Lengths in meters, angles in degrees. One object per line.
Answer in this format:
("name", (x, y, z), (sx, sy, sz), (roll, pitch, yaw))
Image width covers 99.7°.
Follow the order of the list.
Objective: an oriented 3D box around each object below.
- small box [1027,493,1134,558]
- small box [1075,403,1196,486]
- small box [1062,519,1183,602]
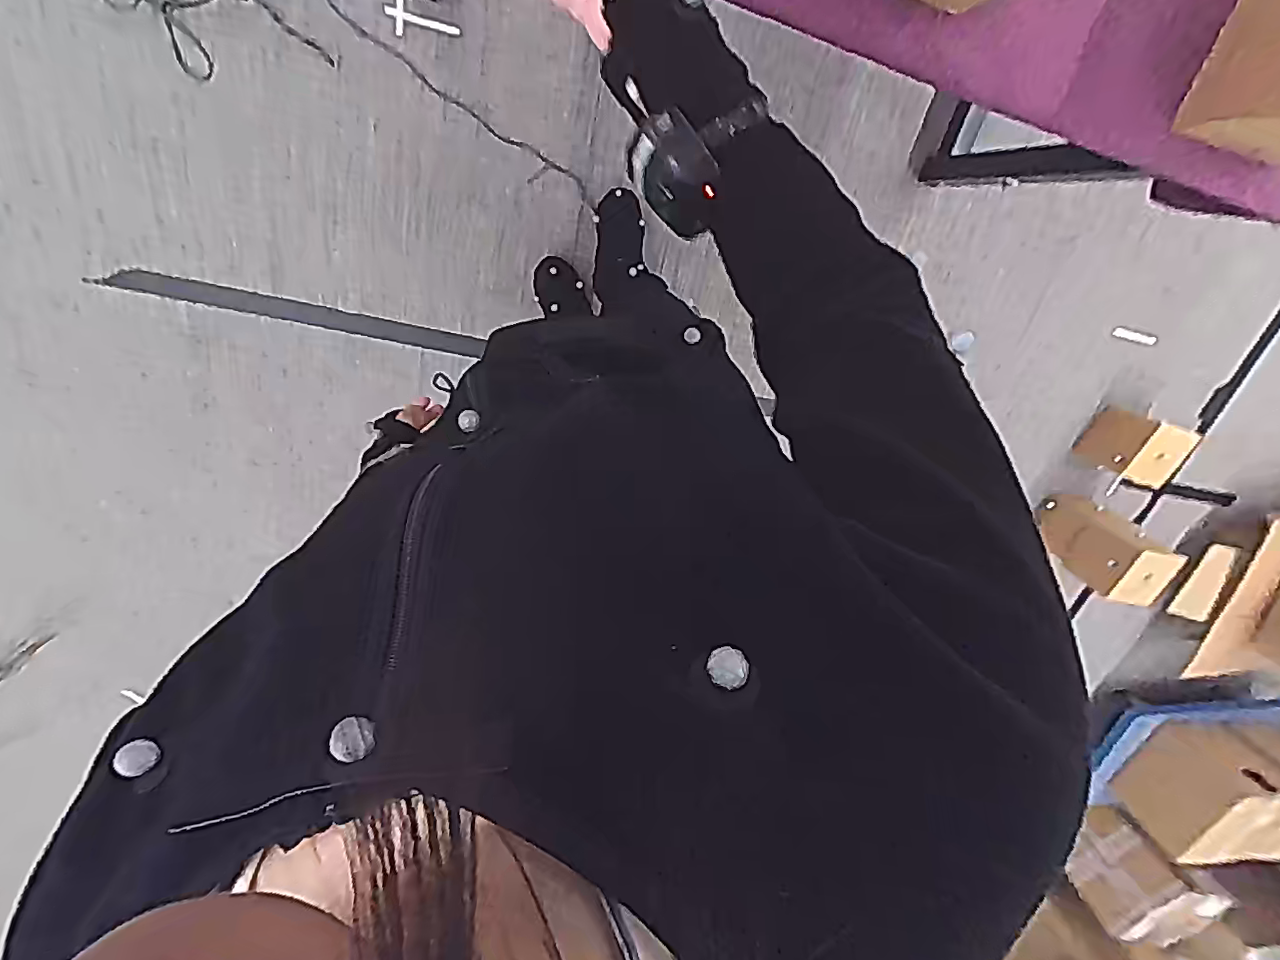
("small box", (1.417, 0.156, 1.754), (0.179, 0.176, 0.168), (8, 117, -13))
("small box", (1.473, -0.111, 1.622), (0.168, 0.176, 0.179), (14, 115, -16))
("small box", (1.421, 0.235, 1.608), (0.168, 0.176, 0.179), (10, 117, -13))
